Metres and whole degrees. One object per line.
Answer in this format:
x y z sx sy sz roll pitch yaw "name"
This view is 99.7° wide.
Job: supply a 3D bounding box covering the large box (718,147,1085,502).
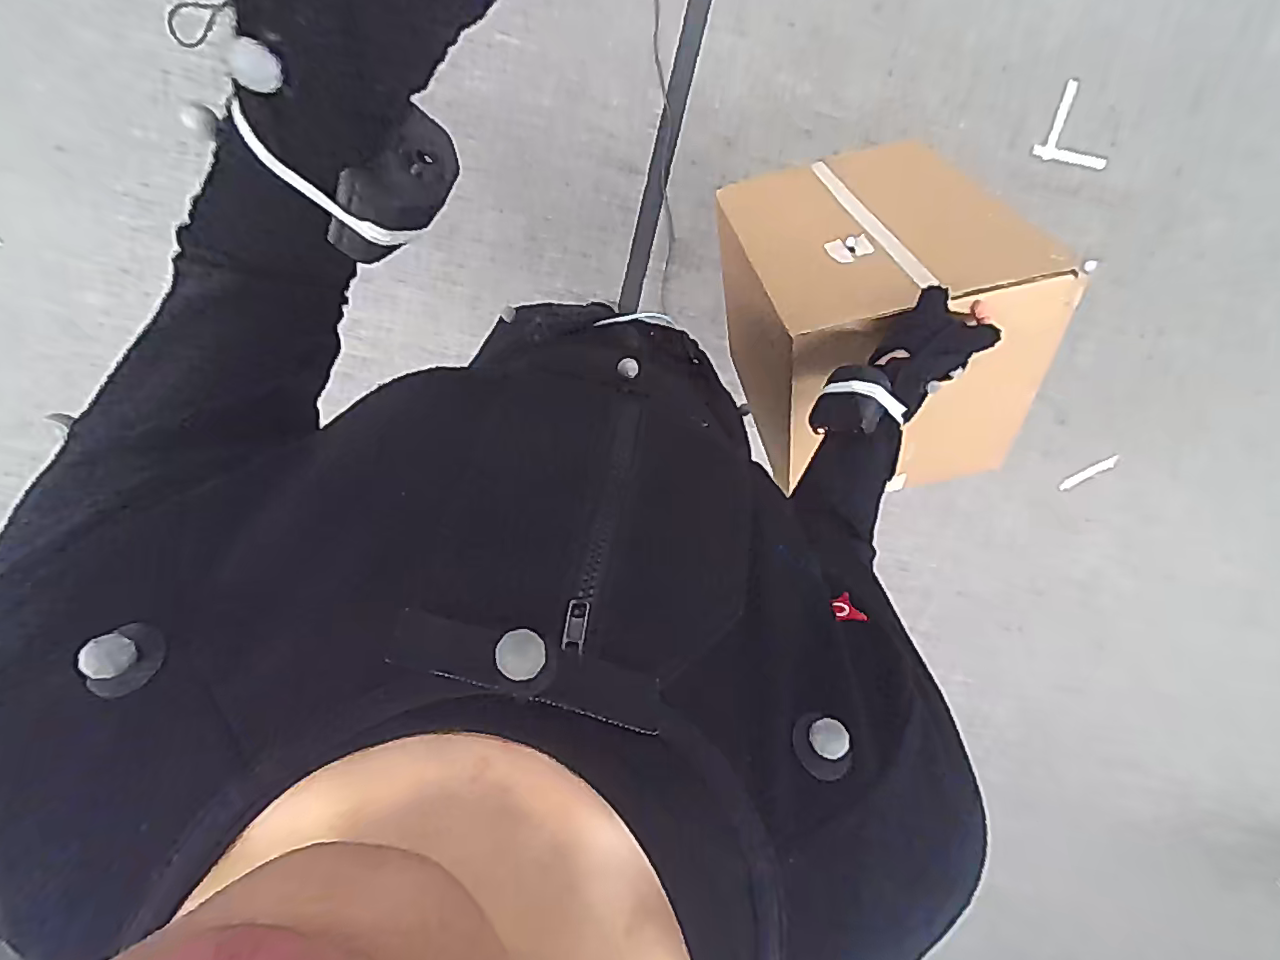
0.321 -0.235 0.816 0.320 0.408 0.320 -13 139 4 "large box"
